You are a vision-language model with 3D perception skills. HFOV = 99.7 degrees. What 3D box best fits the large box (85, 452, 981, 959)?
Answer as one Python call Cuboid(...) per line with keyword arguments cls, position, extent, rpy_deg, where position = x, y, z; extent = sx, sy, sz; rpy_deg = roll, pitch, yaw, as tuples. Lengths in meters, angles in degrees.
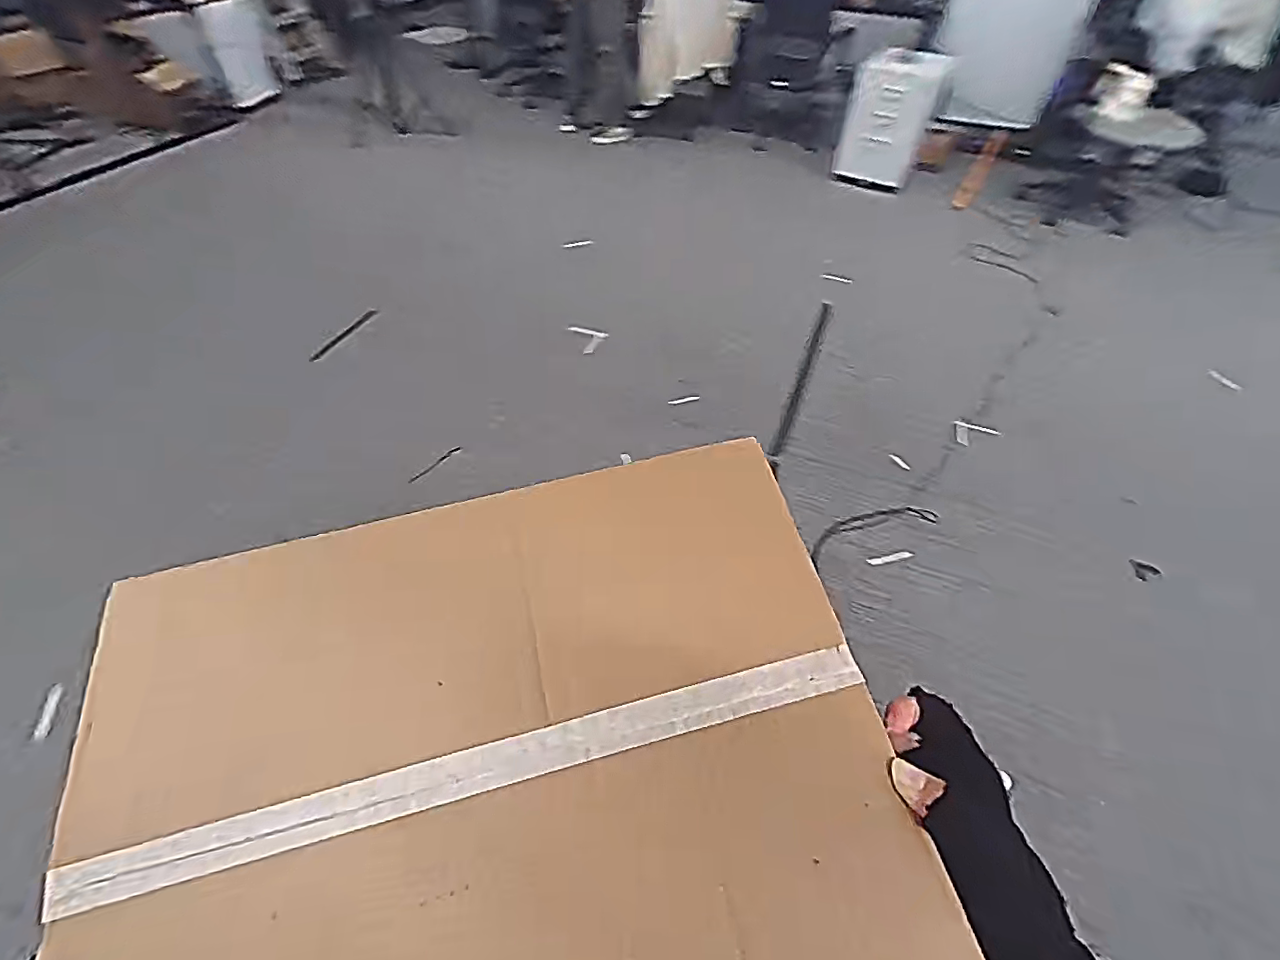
Cuboid(cls="large box", position=(-0.067, 0.224, 0.415), extent=(0.408, 0.320, 0.320), rpy_deg=(-12, 62, -5))
